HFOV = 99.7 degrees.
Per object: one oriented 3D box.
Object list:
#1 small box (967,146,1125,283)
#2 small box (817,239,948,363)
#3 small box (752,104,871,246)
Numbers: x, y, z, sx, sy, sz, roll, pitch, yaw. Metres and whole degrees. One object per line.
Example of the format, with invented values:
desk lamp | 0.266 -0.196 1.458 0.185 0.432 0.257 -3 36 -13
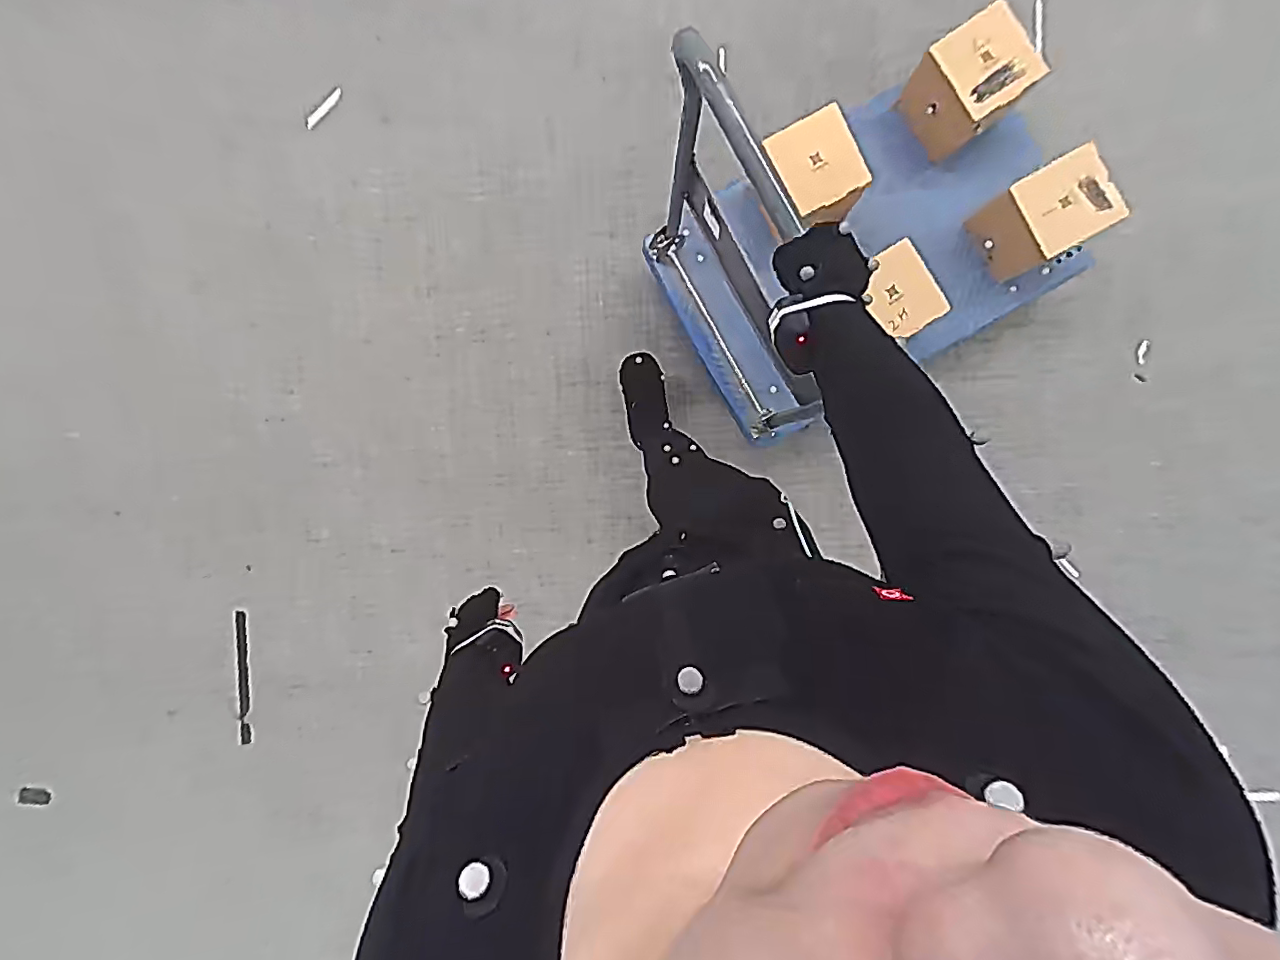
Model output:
small box | 0.844 -0.549 1.144 0.179 0.176 0.168 -28 91 5
small box | 0.511 -0.376 1.171 0.168 0.176 0.179 -31 91 4
small box | 0.358 -0.645 1.165 0.168 0.176 0.179 -26 93 4
